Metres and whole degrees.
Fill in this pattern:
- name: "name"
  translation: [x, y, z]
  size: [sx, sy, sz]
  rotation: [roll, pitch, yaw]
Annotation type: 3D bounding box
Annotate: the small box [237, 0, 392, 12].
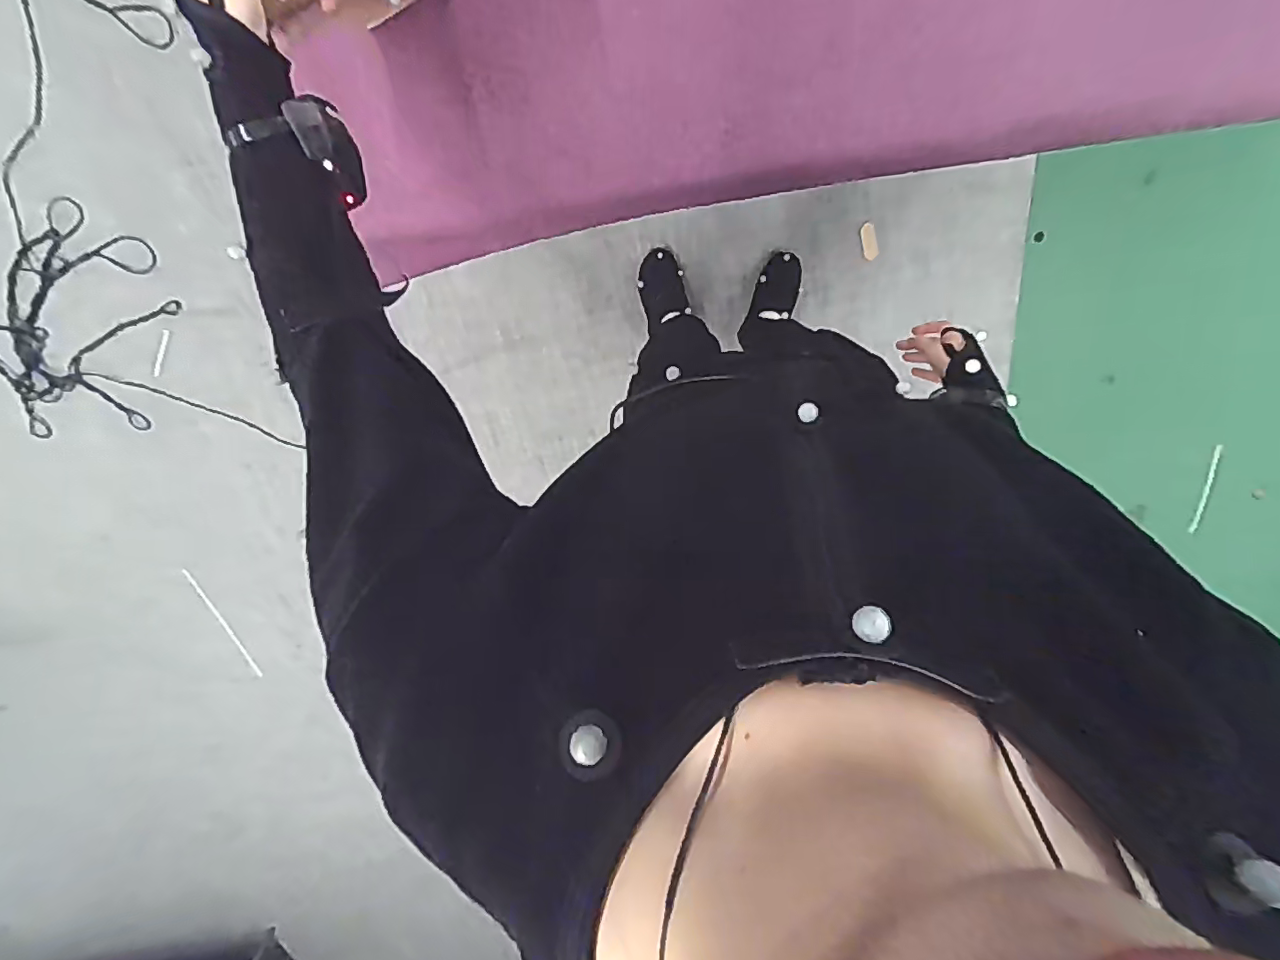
- name: "small box"
  translation: [-0.244, -0.488, 0.399]
  size: [0.168, 0.176, 0.179]
  rotation: [-10, 126, 21]
